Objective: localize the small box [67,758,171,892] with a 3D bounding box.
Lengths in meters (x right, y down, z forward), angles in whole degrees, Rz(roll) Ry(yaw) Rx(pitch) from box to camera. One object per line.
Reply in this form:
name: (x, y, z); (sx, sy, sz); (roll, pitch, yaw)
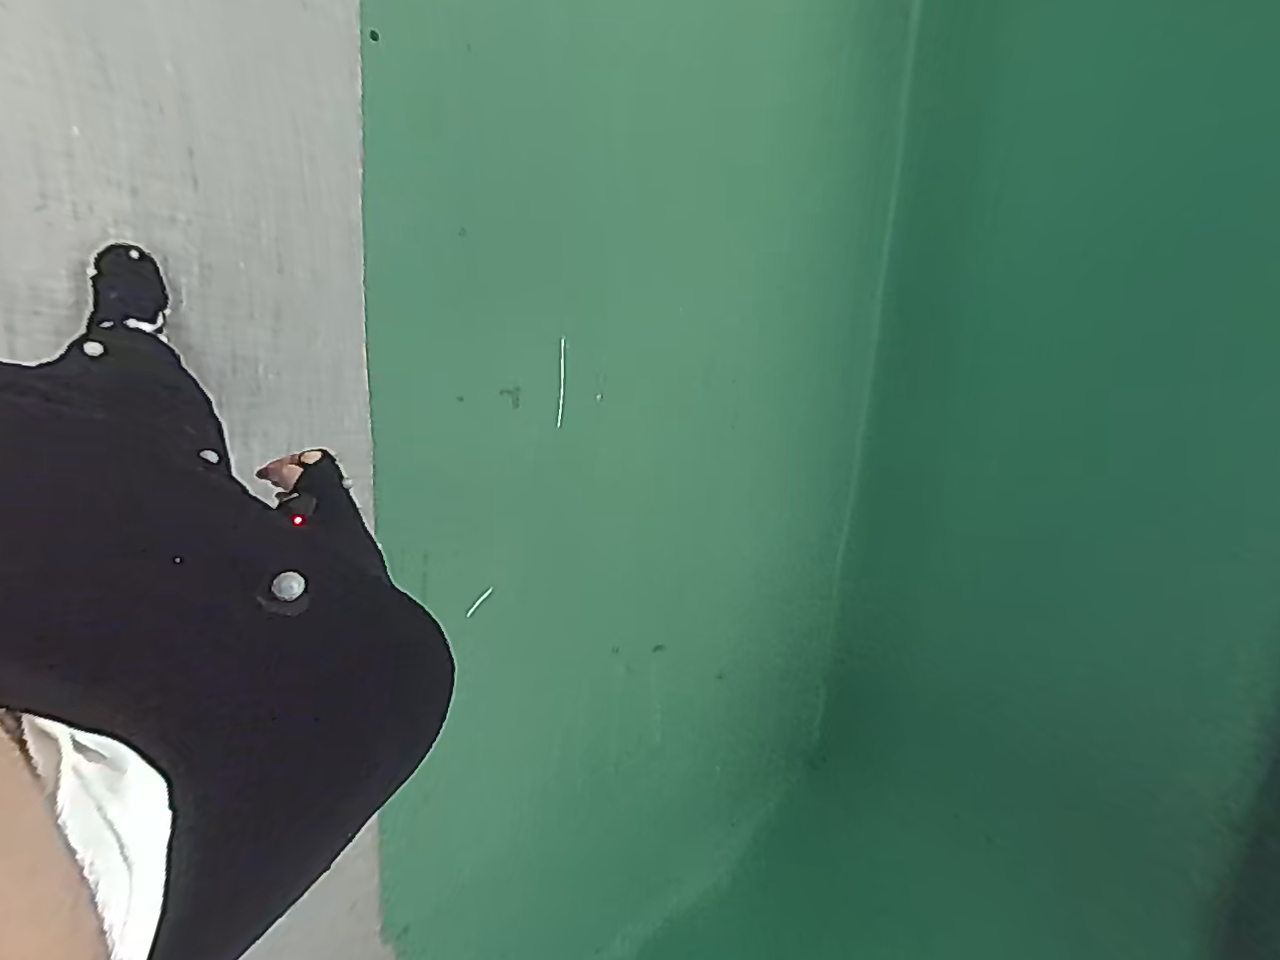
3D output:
small box: (-1.194, 0.772, 1.241); (0.168, 0.176, 0.179); (0, 101, -44)
